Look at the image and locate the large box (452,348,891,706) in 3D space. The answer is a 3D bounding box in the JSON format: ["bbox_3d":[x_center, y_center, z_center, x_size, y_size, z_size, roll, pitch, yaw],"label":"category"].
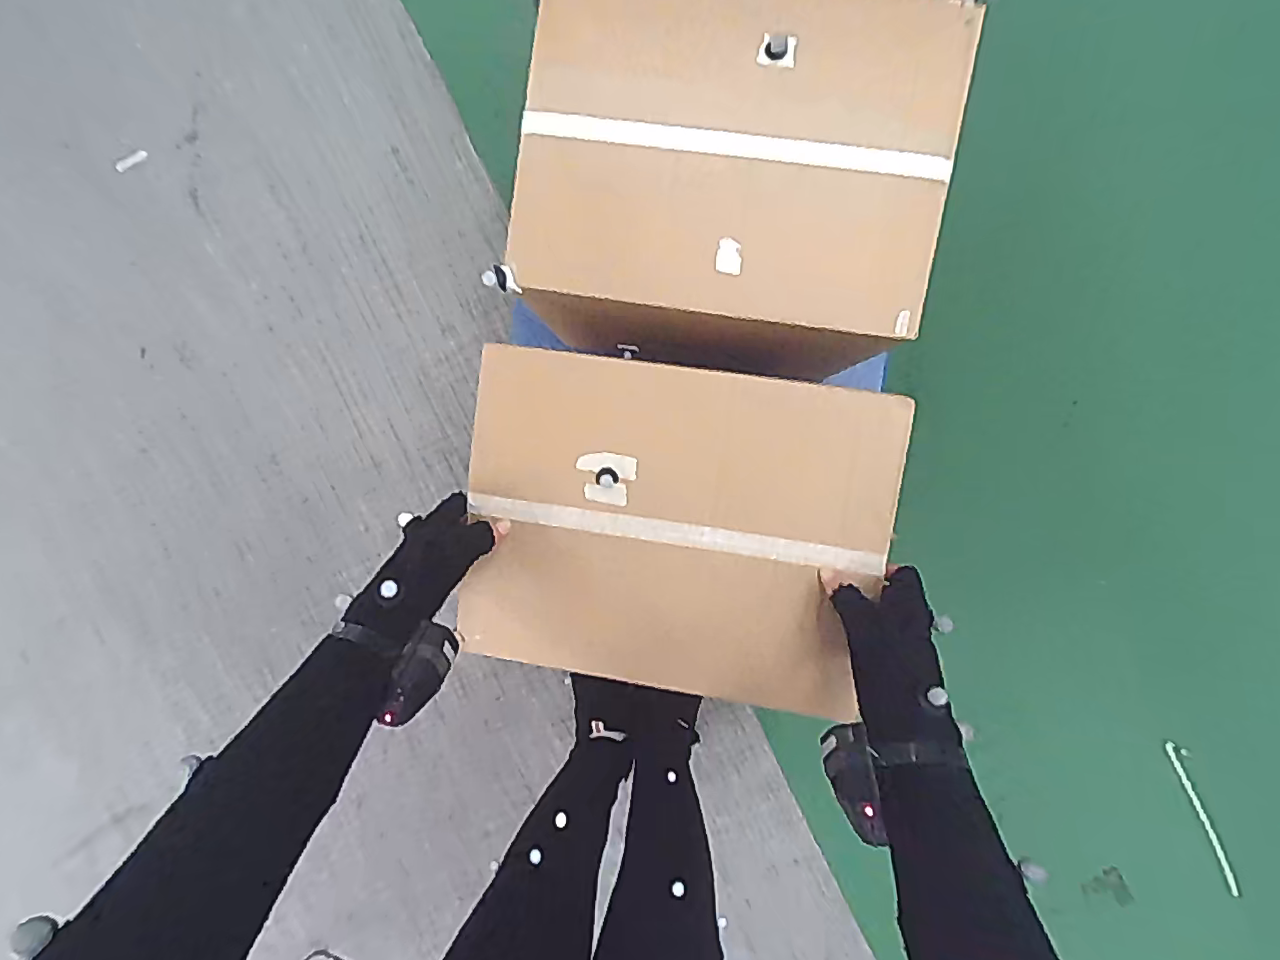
[{"bbox_3d":[0.036,0.030,0.673,0.408,0.320,0.320,9,96,6],"label":"large box"}]
